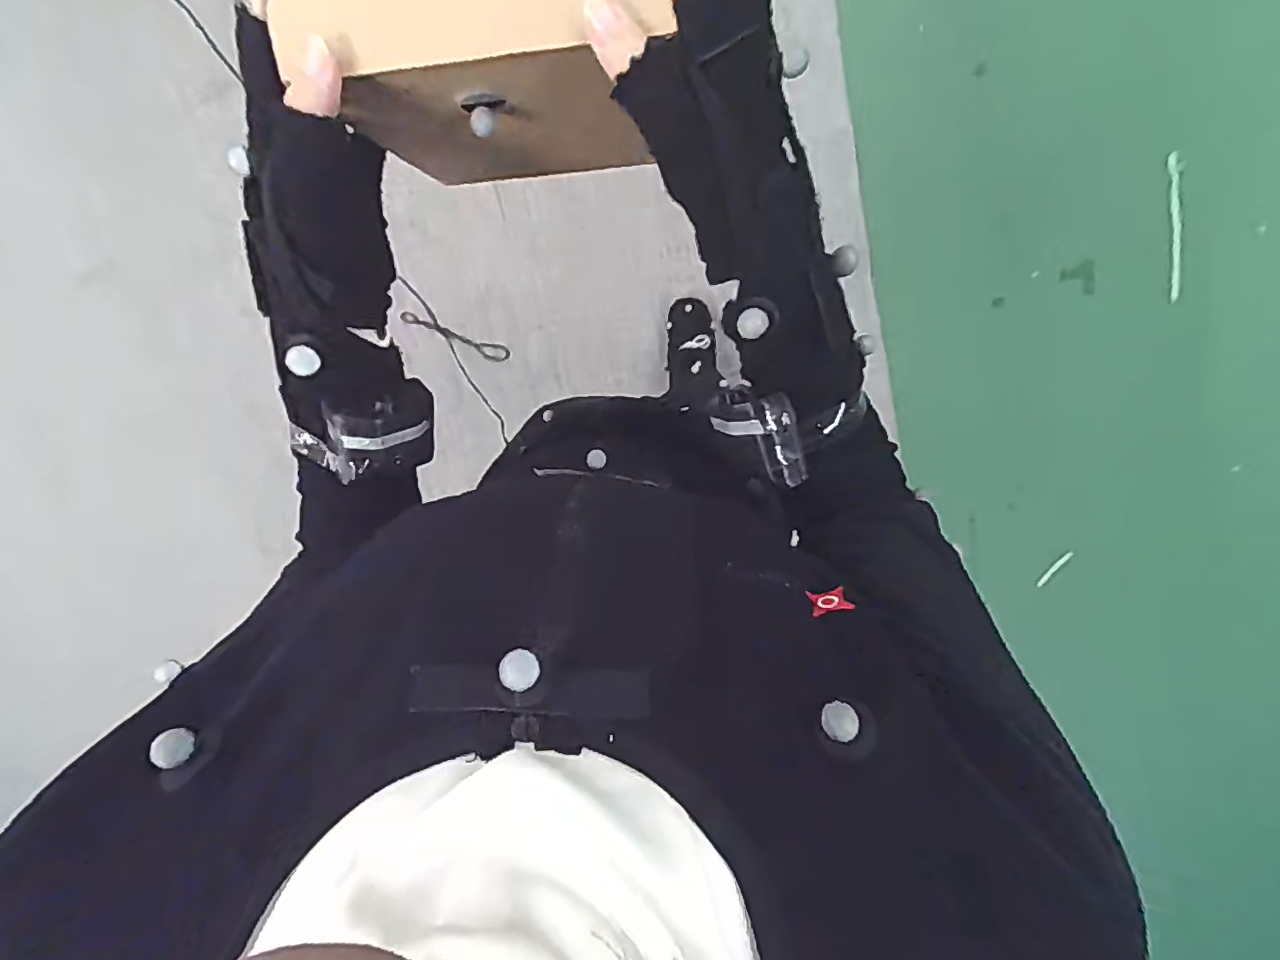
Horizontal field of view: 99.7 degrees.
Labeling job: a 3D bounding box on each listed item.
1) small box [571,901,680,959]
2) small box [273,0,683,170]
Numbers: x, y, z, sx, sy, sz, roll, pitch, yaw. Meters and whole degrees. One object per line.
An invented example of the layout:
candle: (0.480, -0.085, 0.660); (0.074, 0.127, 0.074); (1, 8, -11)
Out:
small box: (-0.022, 0.870, 0.932); (0.179, 0.176, 0.168); (-11, 100, 8)
small box: (-0.069, -0.285, 0.288); (0.179, 0.176, 0.168); (-3, 104, 6)
